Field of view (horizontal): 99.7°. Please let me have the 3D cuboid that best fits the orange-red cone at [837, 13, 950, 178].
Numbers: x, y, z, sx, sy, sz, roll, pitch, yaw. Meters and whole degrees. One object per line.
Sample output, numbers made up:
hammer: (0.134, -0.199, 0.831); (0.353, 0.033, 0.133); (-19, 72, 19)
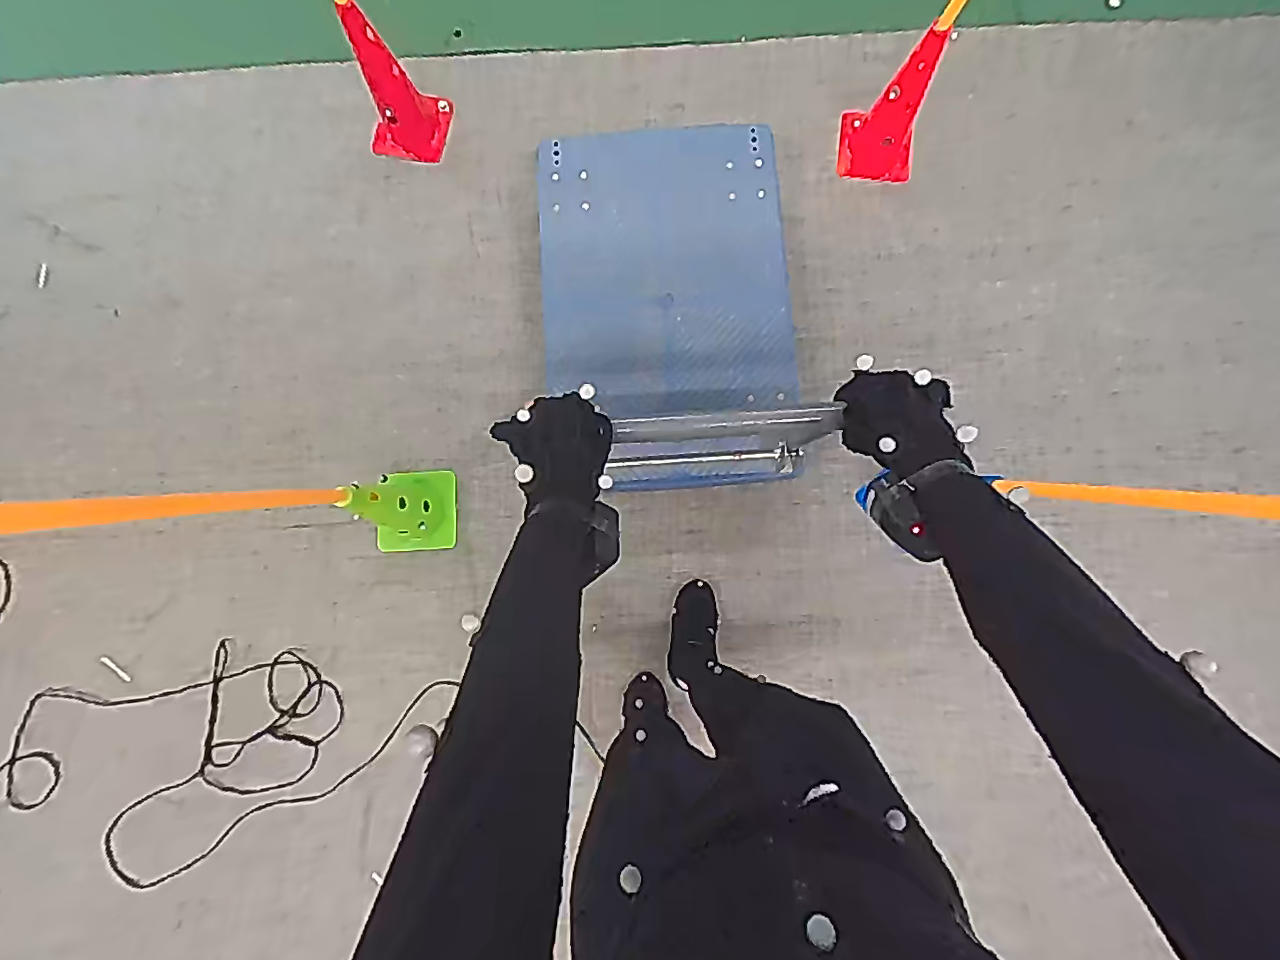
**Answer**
orange-red cone: (0.642, -0.943, 1.310); (0.198, 0.360, 0.199); (8, 84, 3)
